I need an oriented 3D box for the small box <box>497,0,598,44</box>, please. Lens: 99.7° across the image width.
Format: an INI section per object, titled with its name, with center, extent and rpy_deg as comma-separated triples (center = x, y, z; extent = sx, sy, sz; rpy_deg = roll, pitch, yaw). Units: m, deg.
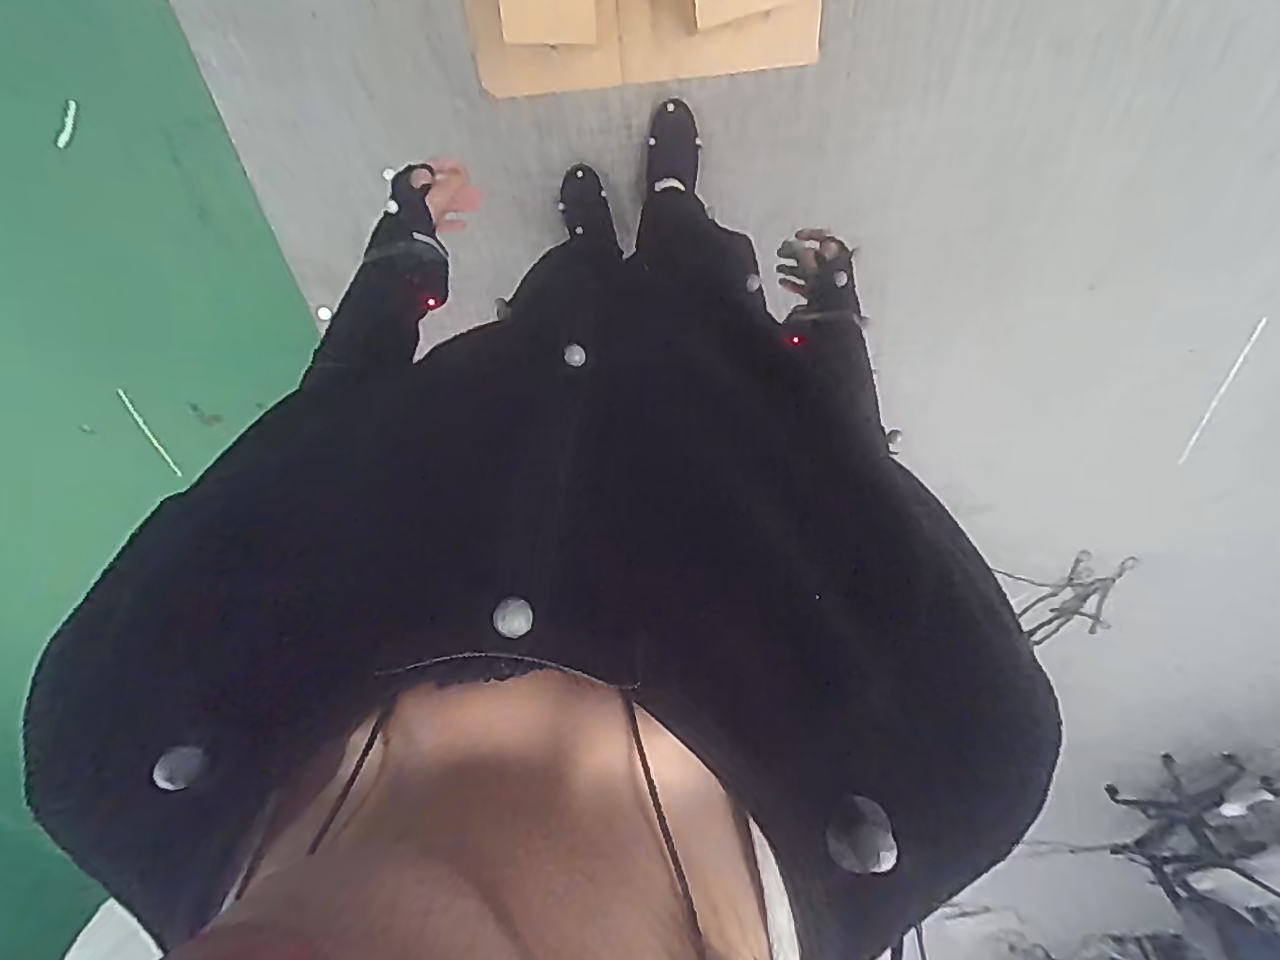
[small box]
center = -0.161, -0.892, 0.961
extent = 0.168, 0.176, 0.179
rpy_deg = 0, 126, -2
